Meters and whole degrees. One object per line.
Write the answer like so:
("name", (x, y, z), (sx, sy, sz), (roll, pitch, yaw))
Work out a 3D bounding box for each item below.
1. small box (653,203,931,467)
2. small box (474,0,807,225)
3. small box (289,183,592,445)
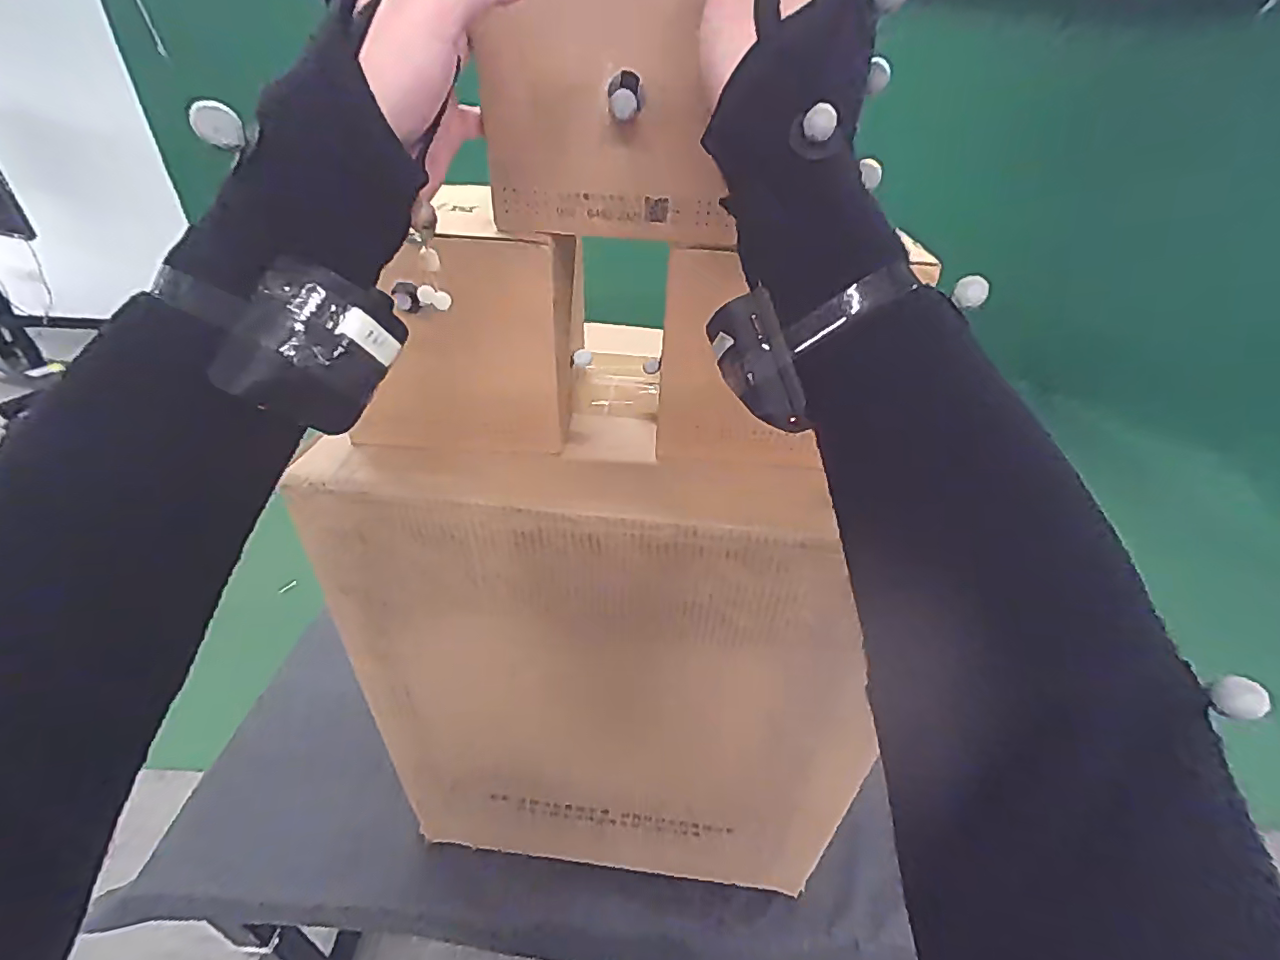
("small box", (0.108, -0.126, 0.463), (0.179, 0.176, 0.168), (4, 37, 4))
("small box", (-0.004, -0.287, 0.362), (0.179, 0.176, 0.168), (-20, 49, -19))
("small box", (-0.143, -0.145, 0.466), (0.179, 0.176, 0.168), (5, 40, 4))
